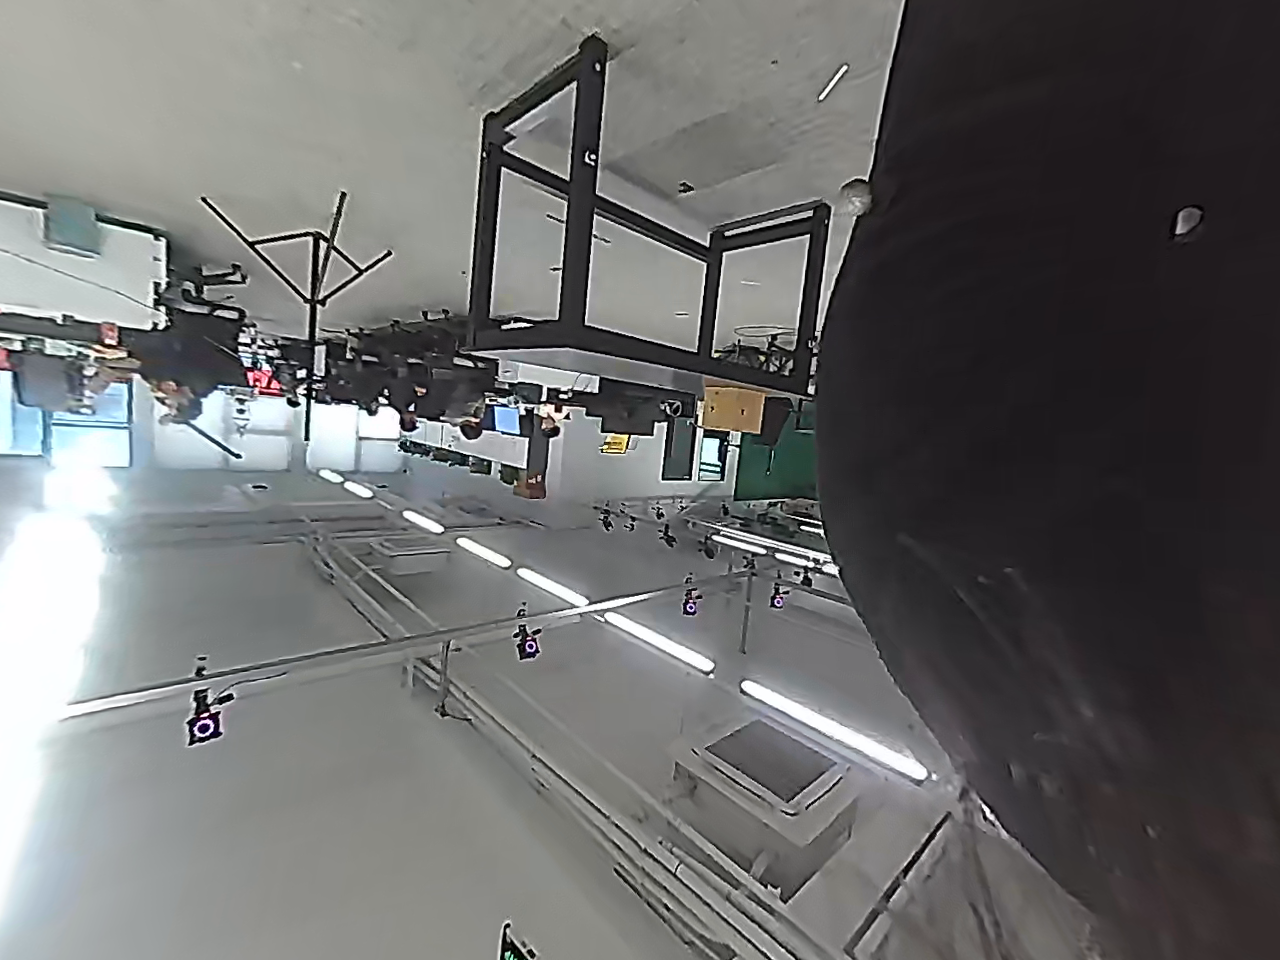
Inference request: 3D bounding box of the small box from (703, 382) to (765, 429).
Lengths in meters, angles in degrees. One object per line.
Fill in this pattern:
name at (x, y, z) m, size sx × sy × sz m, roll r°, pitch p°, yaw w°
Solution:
small box at (0.375, -0.295, 2.139) m, size 0.179 × 0.176 × 0.168 m, roll -1°, pitch -170°, yaw -41°
